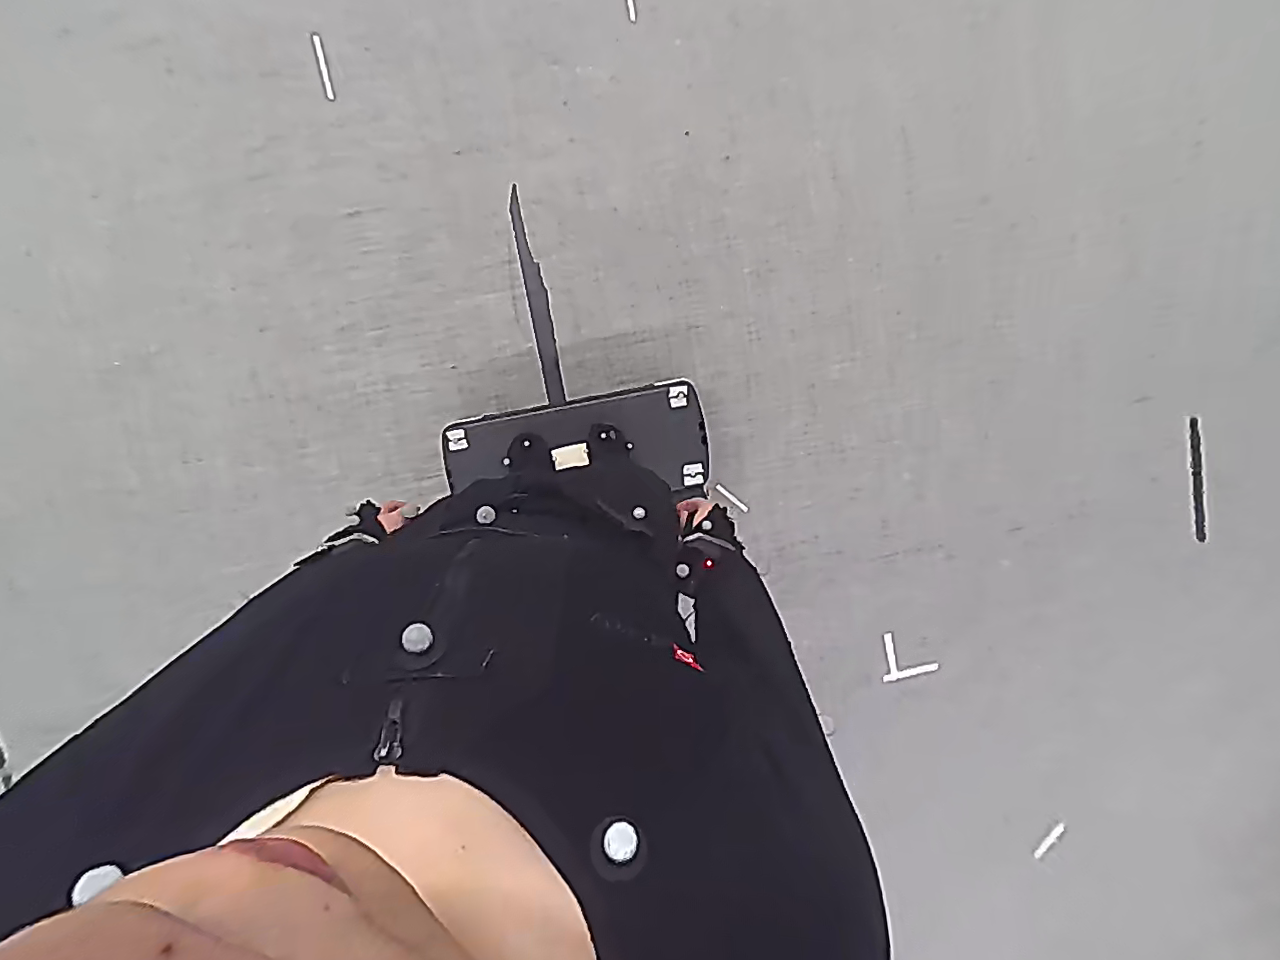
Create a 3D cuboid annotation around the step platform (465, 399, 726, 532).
[{"bbox_3d":[-0.114,-0.043,1.454,0.684,0.204,0.286,-7,97,-2],"label":"step platform"}]
